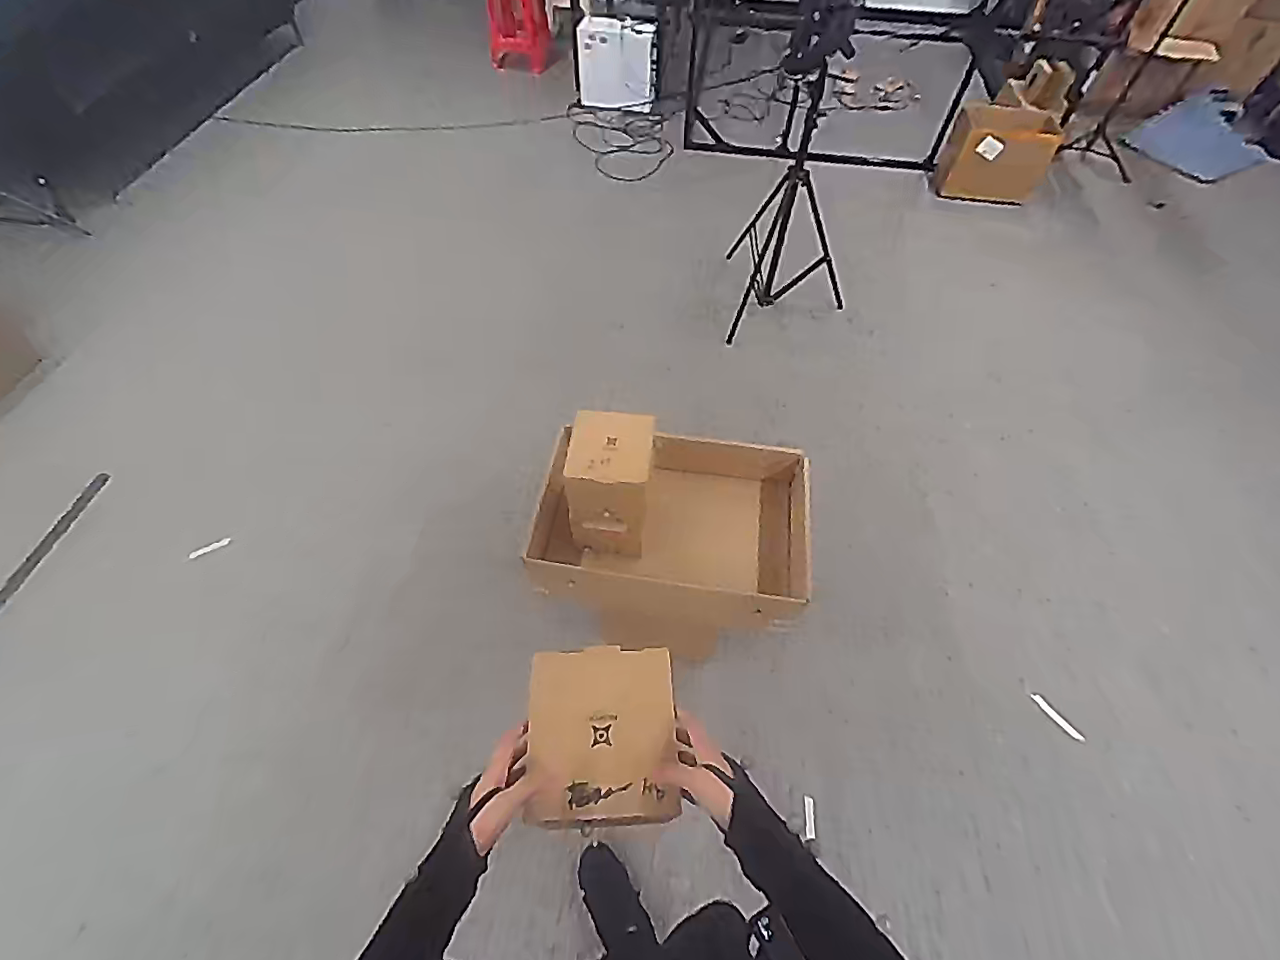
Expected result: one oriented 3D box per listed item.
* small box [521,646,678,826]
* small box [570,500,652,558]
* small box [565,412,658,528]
[{"bbox_3d":[-0.046,0.318,0.668,0.168,0.176,0.179,-1,56,-2],"label":"small box"},{"bbox_3d":[-0.060,0.068,1.285,0.168,0.176,0.179,6,55,4],"label":"small box"},{"bbox_3d":[-0.055,-0.020,1.145,0.168,0.176,0.179,5,56,4],"label":"small box"}]
